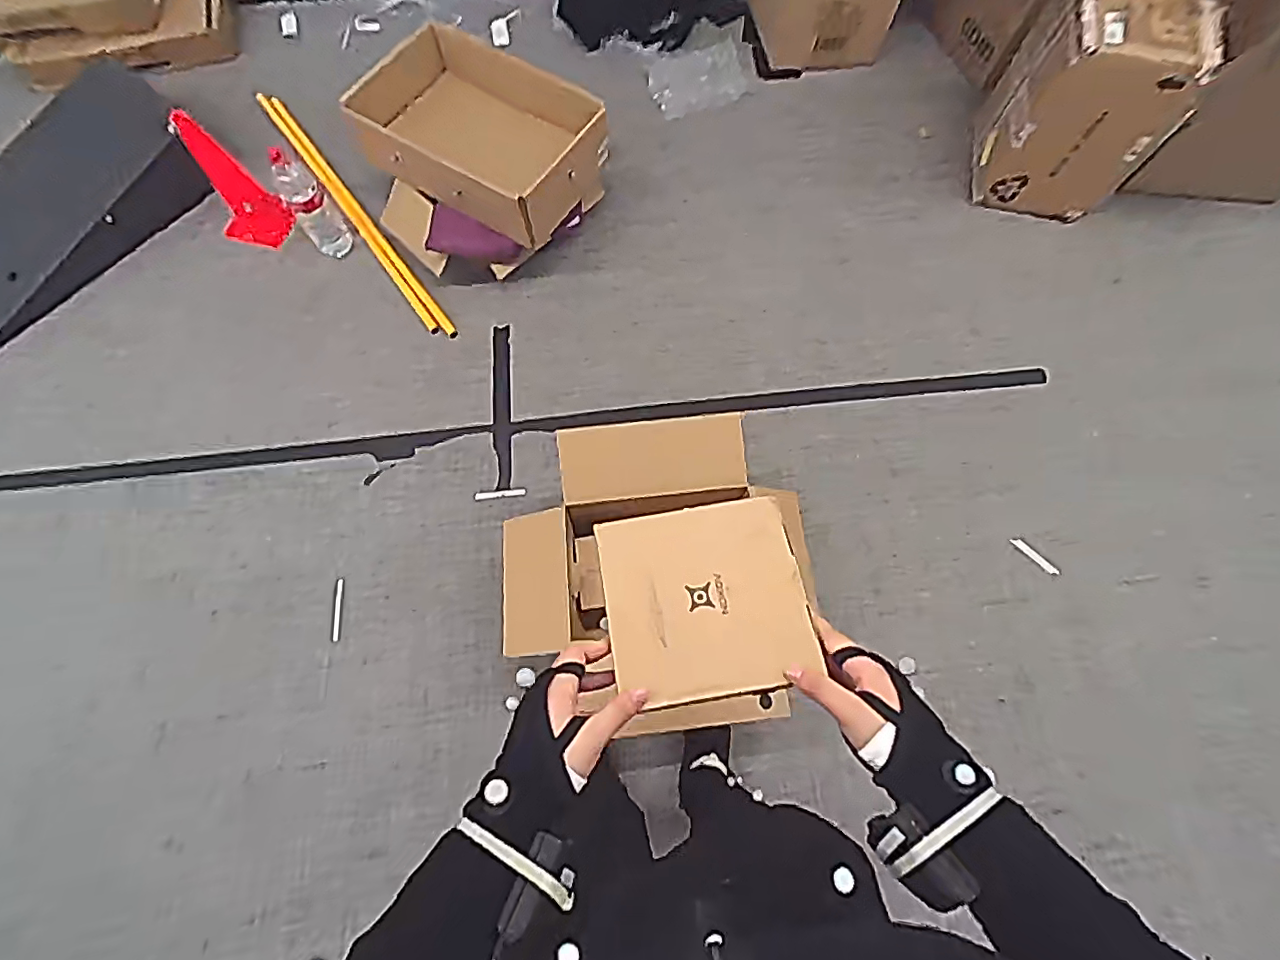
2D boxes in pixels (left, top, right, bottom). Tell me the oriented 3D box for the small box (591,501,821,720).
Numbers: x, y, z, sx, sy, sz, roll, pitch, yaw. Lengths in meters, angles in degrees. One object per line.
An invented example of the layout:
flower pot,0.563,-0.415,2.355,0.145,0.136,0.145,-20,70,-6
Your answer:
small box,0.056,0.138,0.545,0.179,0.176,0.168,-11,65,-1
